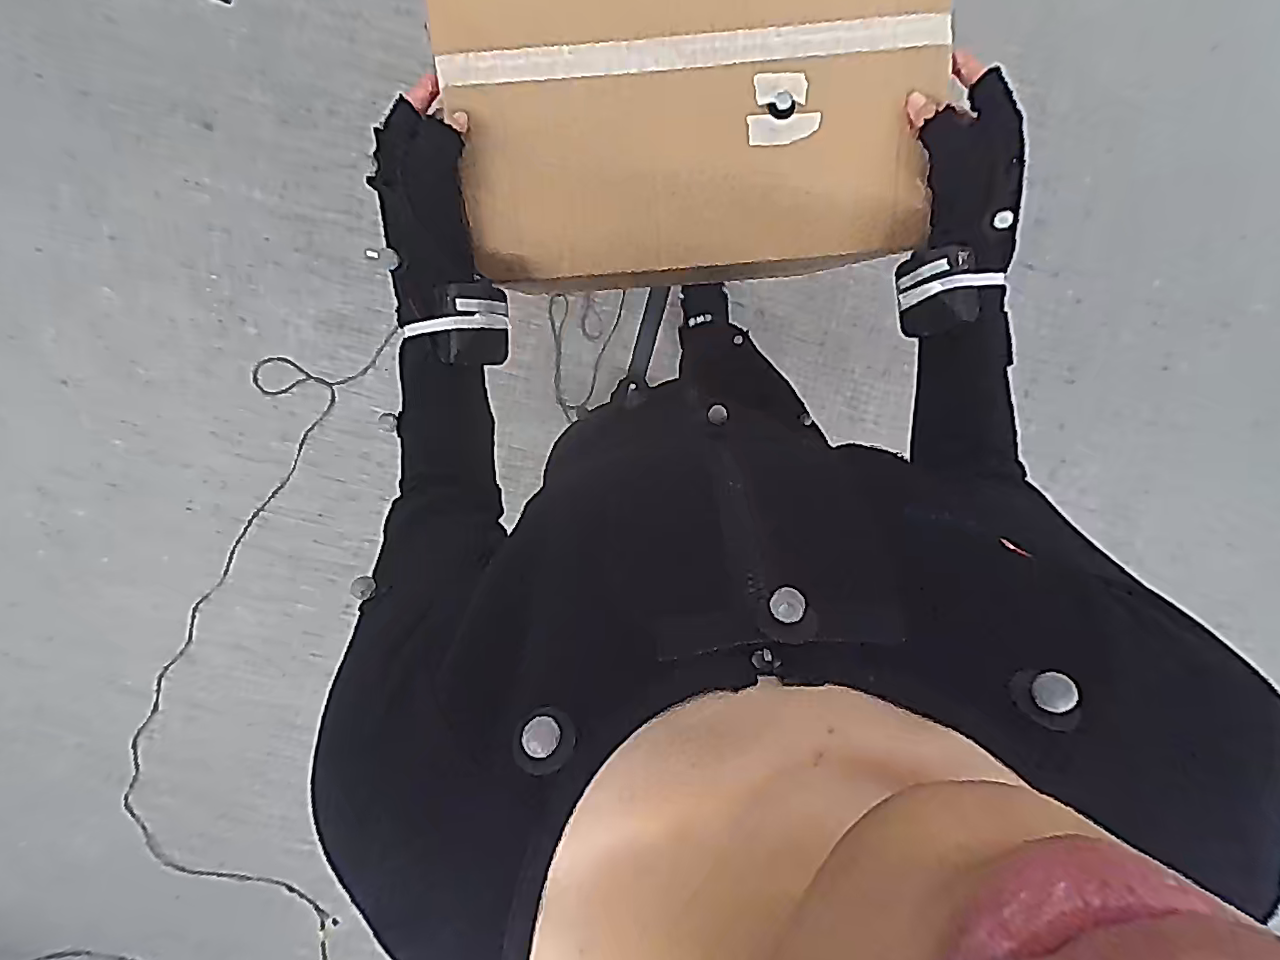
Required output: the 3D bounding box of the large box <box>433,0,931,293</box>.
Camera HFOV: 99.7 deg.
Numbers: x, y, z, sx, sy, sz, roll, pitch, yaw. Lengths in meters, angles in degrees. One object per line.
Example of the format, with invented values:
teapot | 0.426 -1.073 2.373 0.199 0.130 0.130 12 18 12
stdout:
large box | 0.031 -0.390 0.581 0.408 0.320 0.320 -5 107 -1
